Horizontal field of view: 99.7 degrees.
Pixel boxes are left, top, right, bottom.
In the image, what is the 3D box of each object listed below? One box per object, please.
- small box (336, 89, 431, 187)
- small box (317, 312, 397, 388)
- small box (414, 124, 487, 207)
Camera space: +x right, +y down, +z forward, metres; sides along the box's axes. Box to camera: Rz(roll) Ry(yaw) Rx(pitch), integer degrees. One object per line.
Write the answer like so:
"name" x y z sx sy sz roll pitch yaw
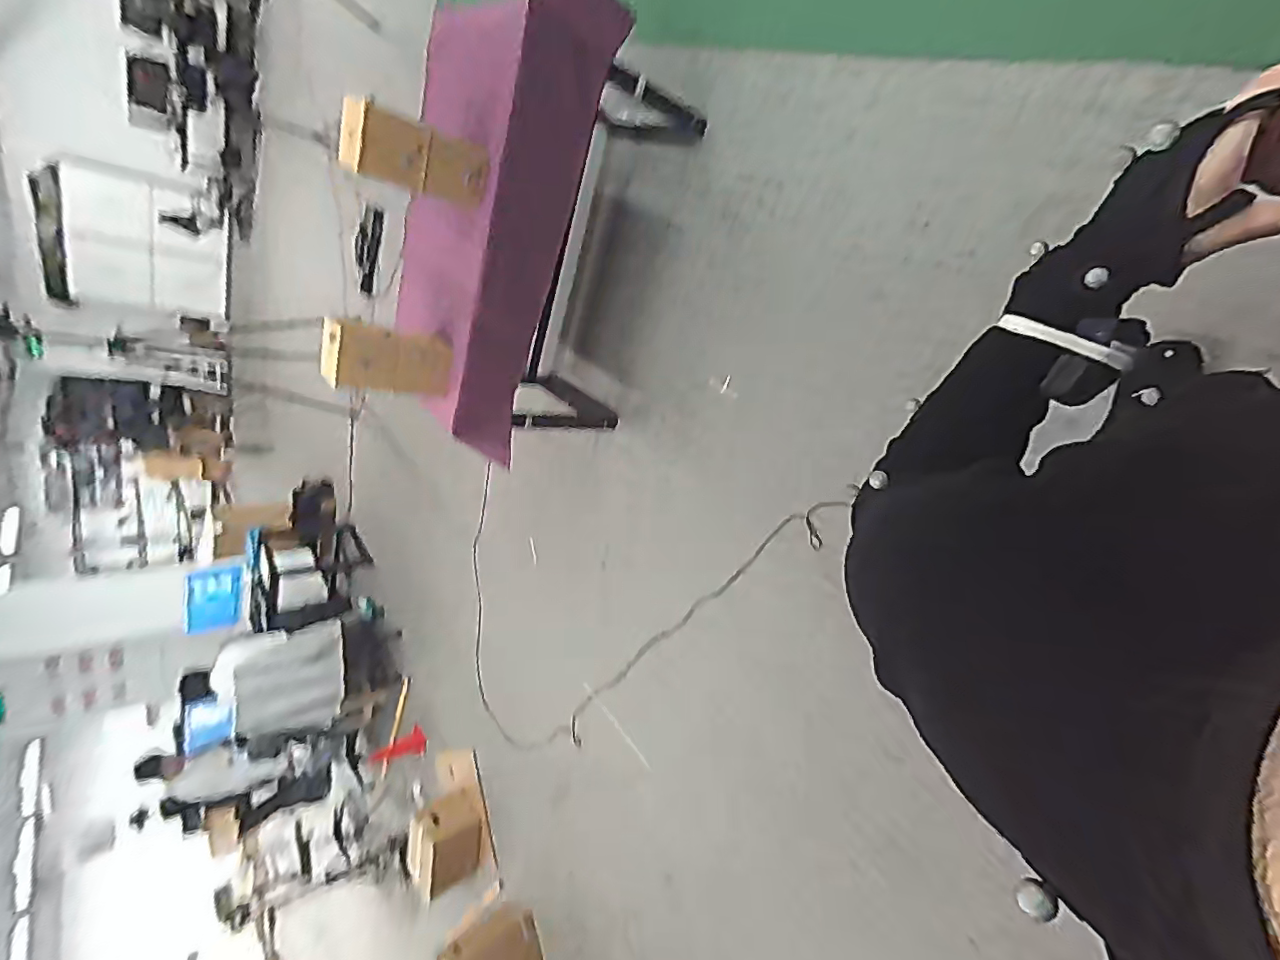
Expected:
"small box" -0.679 -0.898 1.428 0.179 0.176 0.168 39 119 36
"small box" -0.856 -0.391 1.640 0.168 0.176 0.179 34 116 39
"small box" -0.563 -0.903 1.543 0.179 0.176 0.168 40 120 36
